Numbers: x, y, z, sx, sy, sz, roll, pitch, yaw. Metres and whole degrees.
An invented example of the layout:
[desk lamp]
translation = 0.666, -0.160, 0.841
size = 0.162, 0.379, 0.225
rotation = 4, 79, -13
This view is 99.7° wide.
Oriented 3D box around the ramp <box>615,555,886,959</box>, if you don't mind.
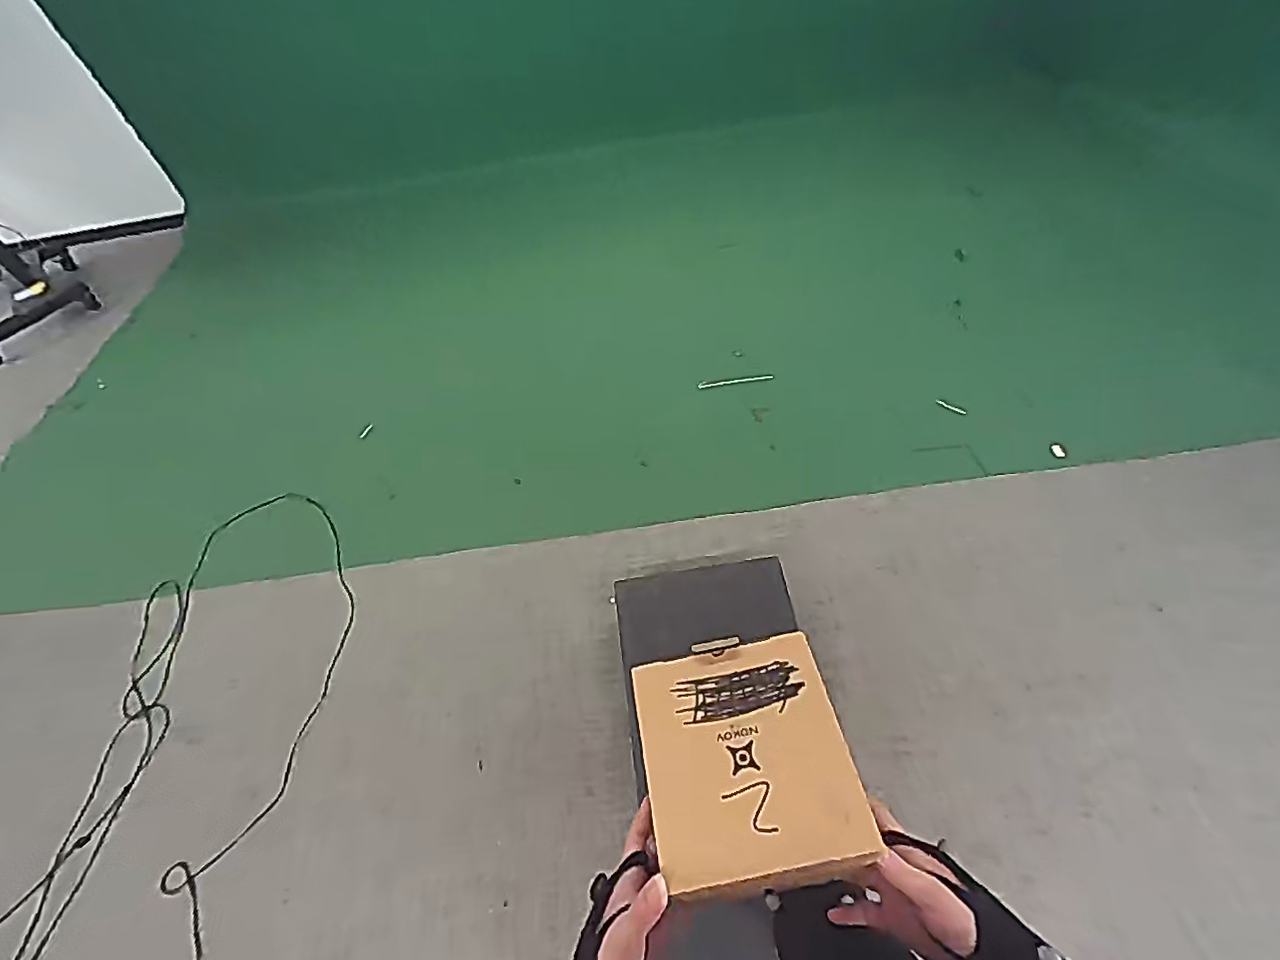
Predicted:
[ramp]
translation = 0.232, 0.692, 1.343
size = 0.509, 0.206, 0.991
rotation = -10, 53, 0
